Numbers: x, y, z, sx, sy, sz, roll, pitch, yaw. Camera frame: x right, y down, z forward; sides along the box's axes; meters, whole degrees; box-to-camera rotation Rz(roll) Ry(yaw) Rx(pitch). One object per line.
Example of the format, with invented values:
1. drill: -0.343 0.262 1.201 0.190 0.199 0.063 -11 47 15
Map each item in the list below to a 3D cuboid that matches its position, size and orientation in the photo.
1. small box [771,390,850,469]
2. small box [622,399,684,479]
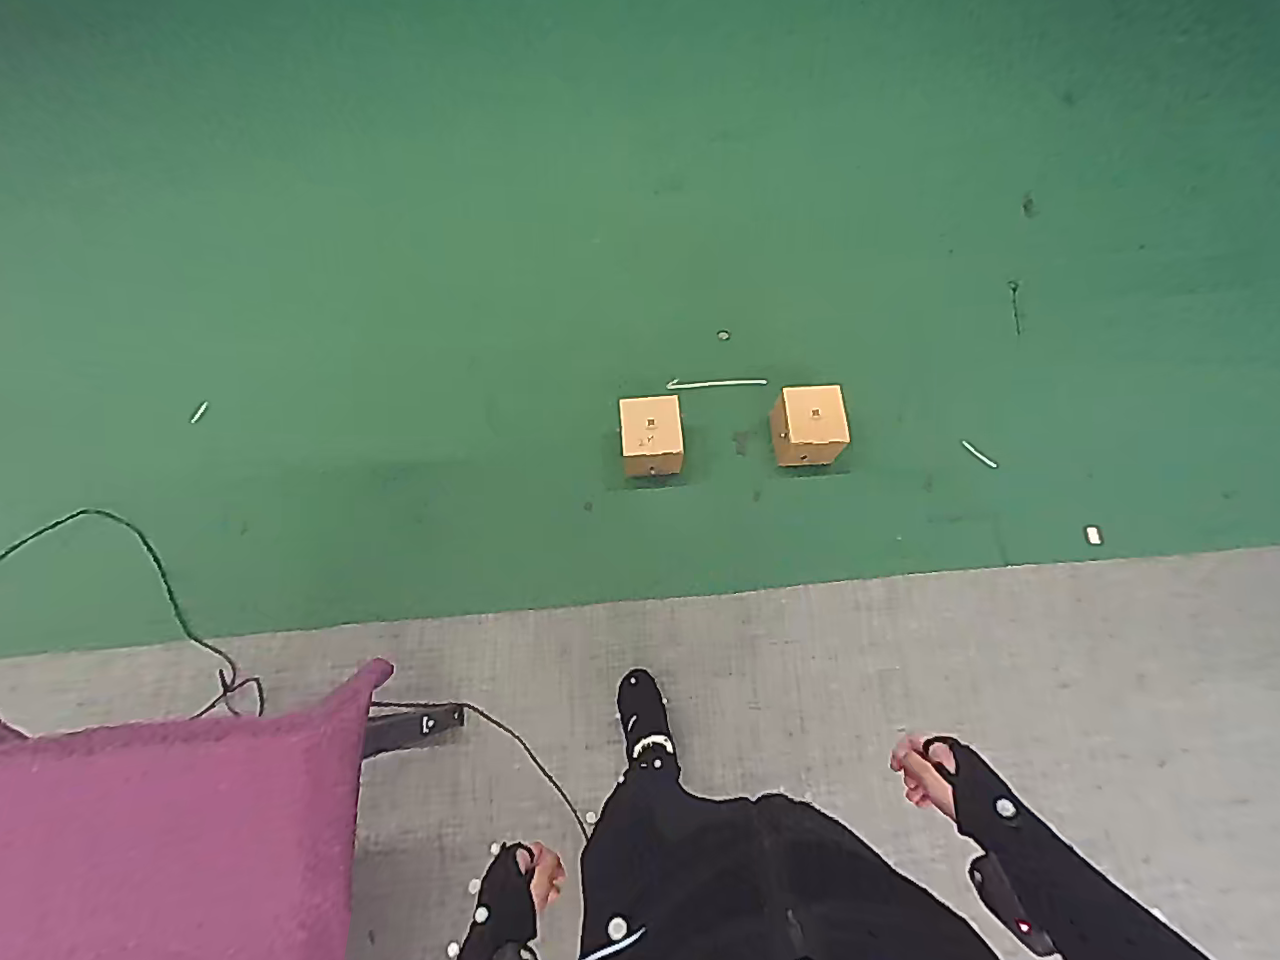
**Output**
1. small box: 0.490 -0.145 1.581 0.168 0.176 0.179 -3 71 -2
2. small box: 0.034 -0.116 1.566 0.168 0.176 0.179 -4 70 -1
